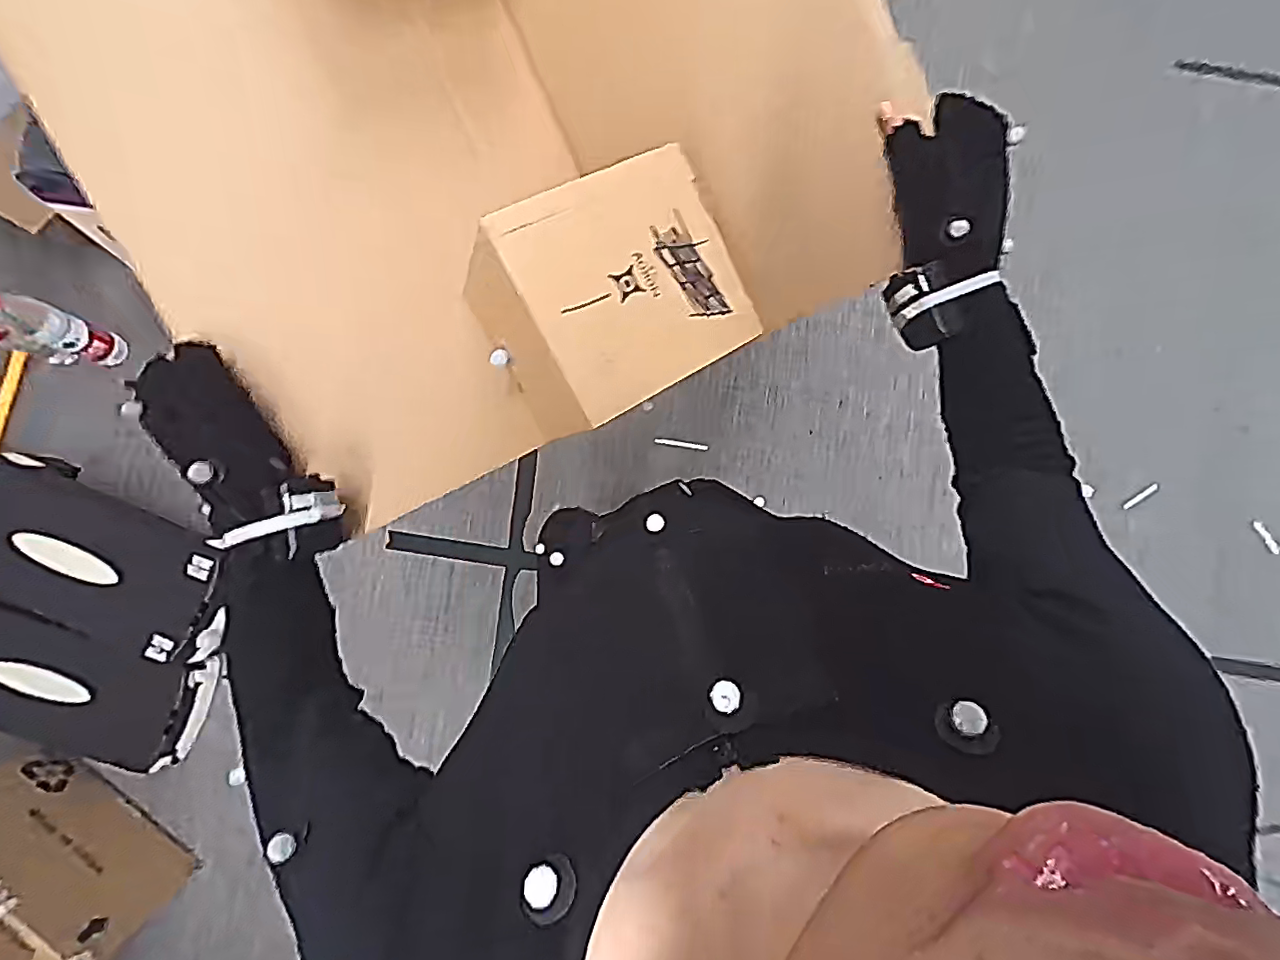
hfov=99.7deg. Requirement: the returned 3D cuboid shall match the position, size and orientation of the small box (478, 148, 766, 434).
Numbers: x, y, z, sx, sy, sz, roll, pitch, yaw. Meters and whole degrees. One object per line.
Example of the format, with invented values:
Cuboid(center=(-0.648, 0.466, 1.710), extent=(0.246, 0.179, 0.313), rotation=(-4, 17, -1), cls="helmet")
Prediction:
Cuboid(center=(-0.027, -0.154, 0.489), extent=(0.179, 0.176, 0.168), rotation=(-31, 102, -18), cls="small box")
